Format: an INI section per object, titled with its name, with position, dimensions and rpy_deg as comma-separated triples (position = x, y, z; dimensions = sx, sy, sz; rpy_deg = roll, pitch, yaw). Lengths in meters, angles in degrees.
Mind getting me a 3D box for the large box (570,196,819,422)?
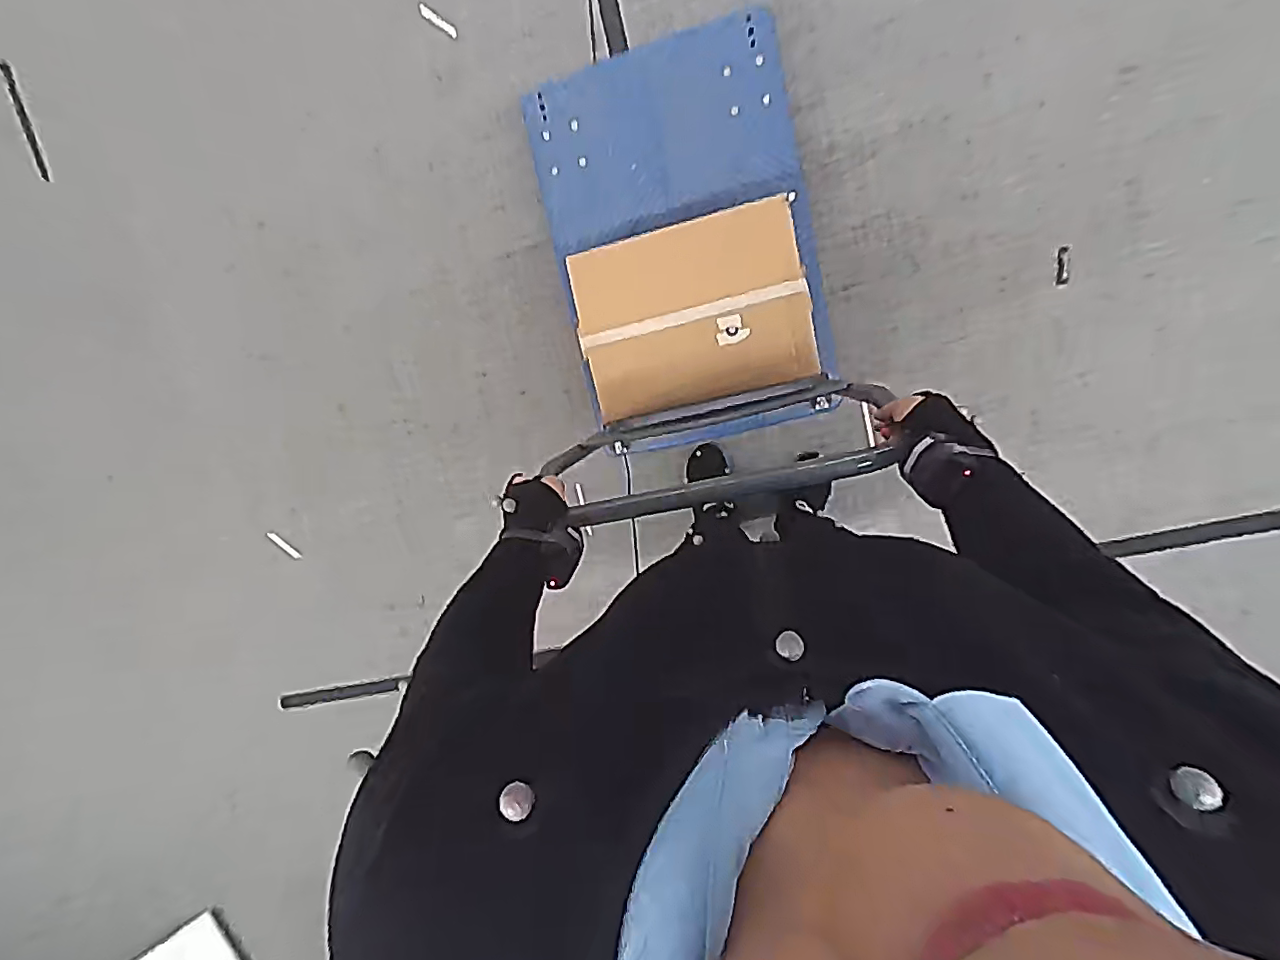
[large box]
position = 0.115, -0.319, 1.121
dimensions = 0.408, 0.320, 0.320
rpy_deg = -12, 97, 10
